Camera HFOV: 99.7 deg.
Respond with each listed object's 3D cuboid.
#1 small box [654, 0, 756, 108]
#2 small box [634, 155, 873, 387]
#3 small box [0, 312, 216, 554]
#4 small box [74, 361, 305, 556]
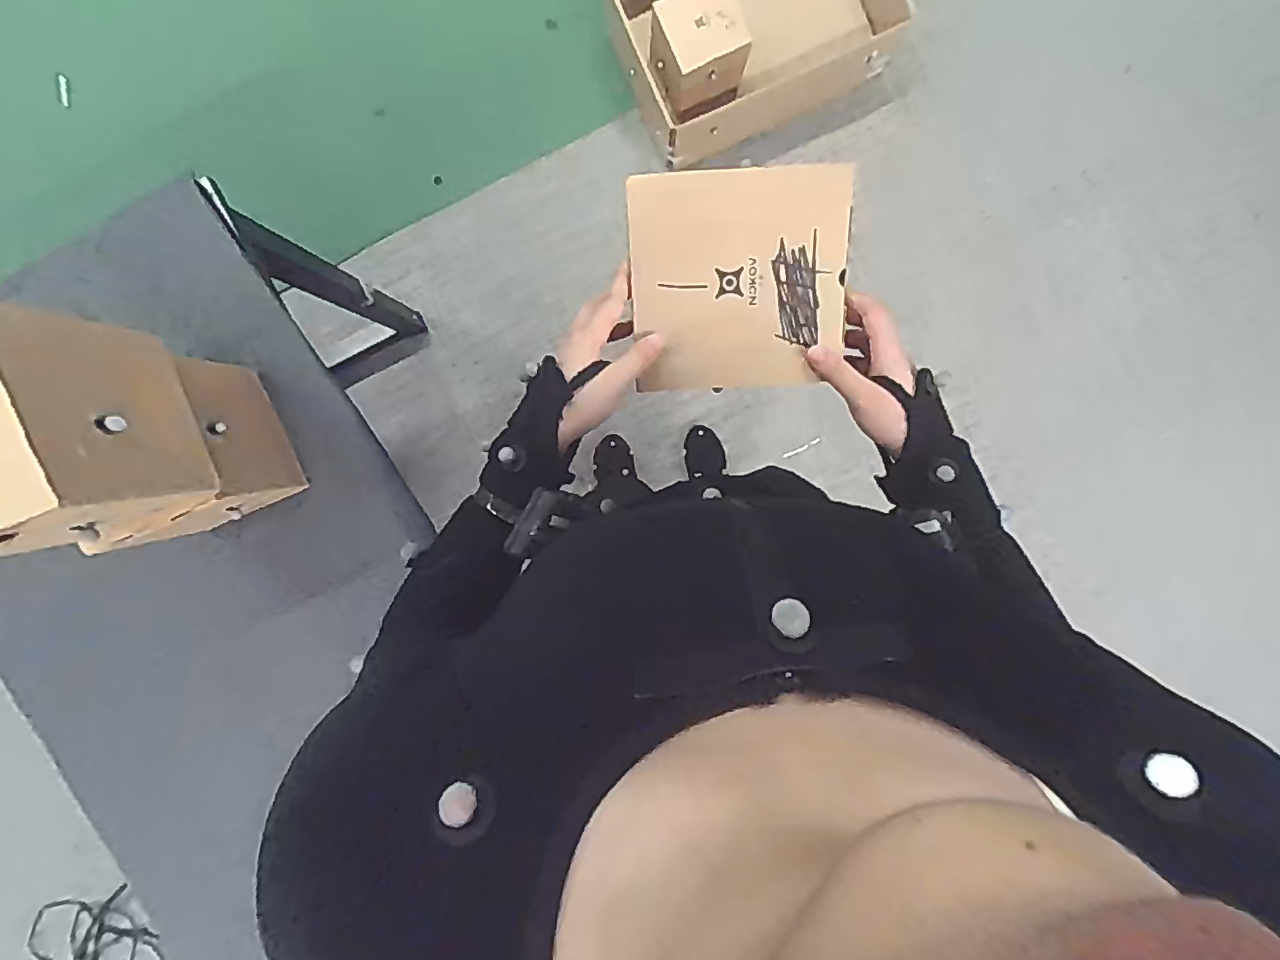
[{"bbox_3d":[0.141,-1.014,1.254,0.179,0.176,0.168,-25,96,0],"label":"small box"},{"bbox_3d":[0.086,-0.182,0.494,0.179,0.176,0.168,-3,108,1],"label":"small box"},{"bbox_3d":[-0.540,-0.037,0.484,0.168,0.176,0.179,-20,95,1],"label":"small box"},{"bbox_3d":[-0.551,-0.033,0.649,0.168,0.176,0.179,-23,94,1],"label":"small box"}]
